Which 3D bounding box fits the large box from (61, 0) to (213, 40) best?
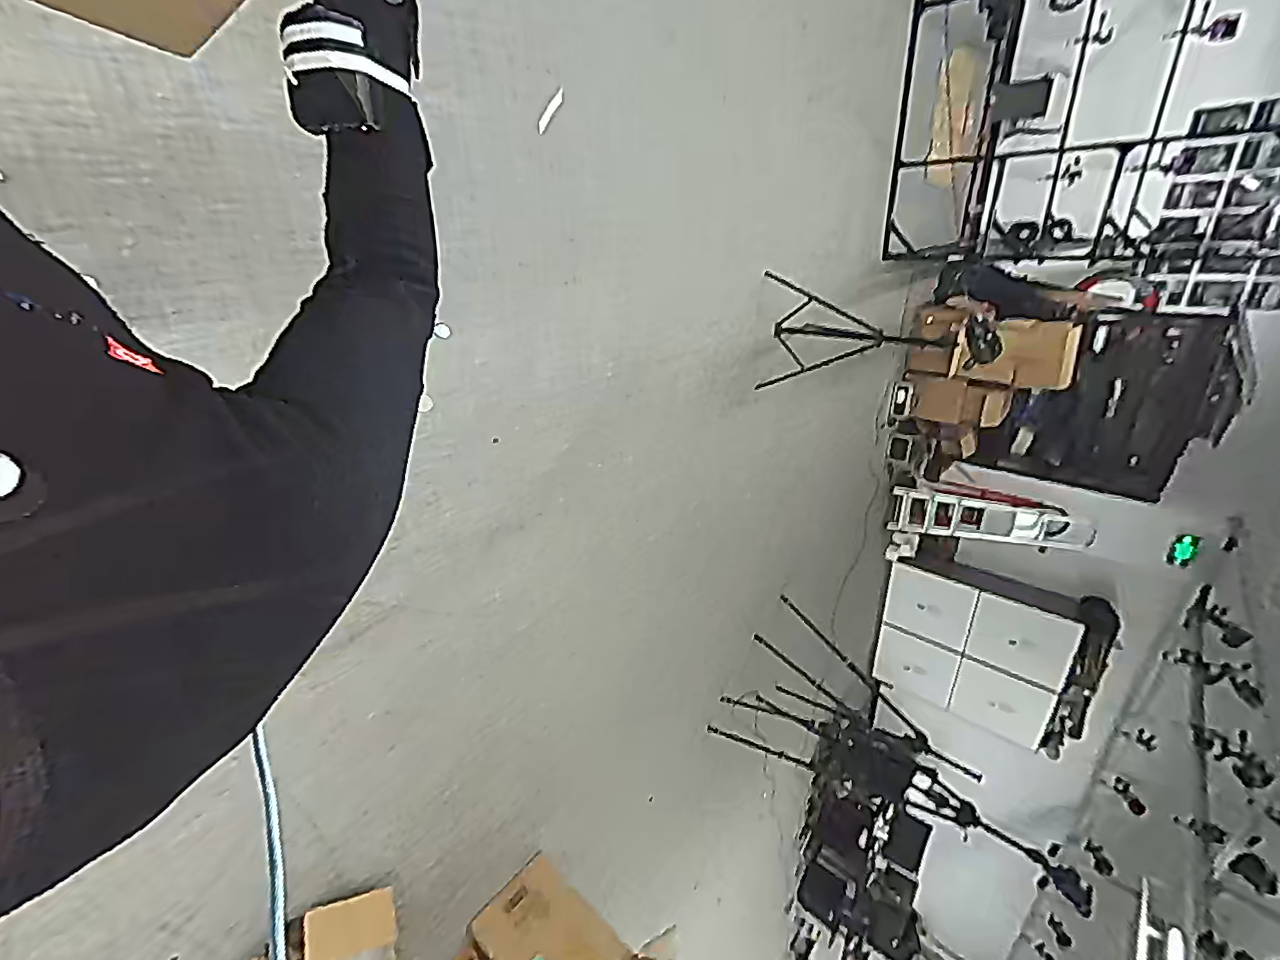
[{"bbox_3d":[-0.453,-0.506,0.250,0.408,0.320,0.320,-9,113,-48],"label":"large box"}]
